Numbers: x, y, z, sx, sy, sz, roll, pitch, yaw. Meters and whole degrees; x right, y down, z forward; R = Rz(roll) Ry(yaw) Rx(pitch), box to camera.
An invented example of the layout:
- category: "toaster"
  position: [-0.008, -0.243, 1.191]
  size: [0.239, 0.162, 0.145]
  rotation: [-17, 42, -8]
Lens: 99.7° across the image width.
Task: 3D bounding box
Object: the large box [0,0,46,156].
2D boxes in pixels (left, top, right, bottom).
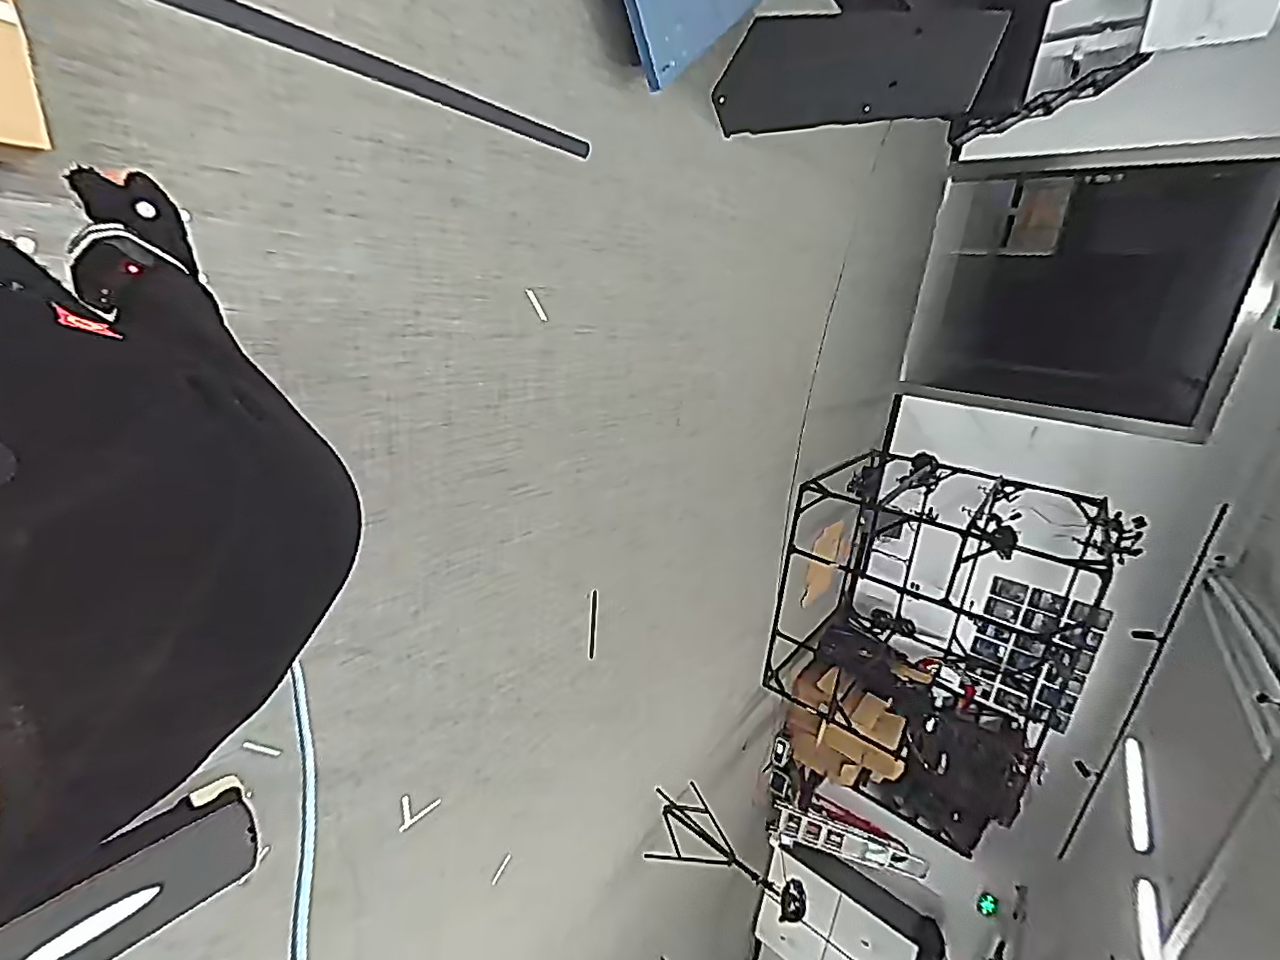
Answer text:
- category: "large box"
  position: [-1.074, -0.616, 0.651]
  size: [0.408, 0.320, 0.320]
  rotation: [-20, 122, -50]
